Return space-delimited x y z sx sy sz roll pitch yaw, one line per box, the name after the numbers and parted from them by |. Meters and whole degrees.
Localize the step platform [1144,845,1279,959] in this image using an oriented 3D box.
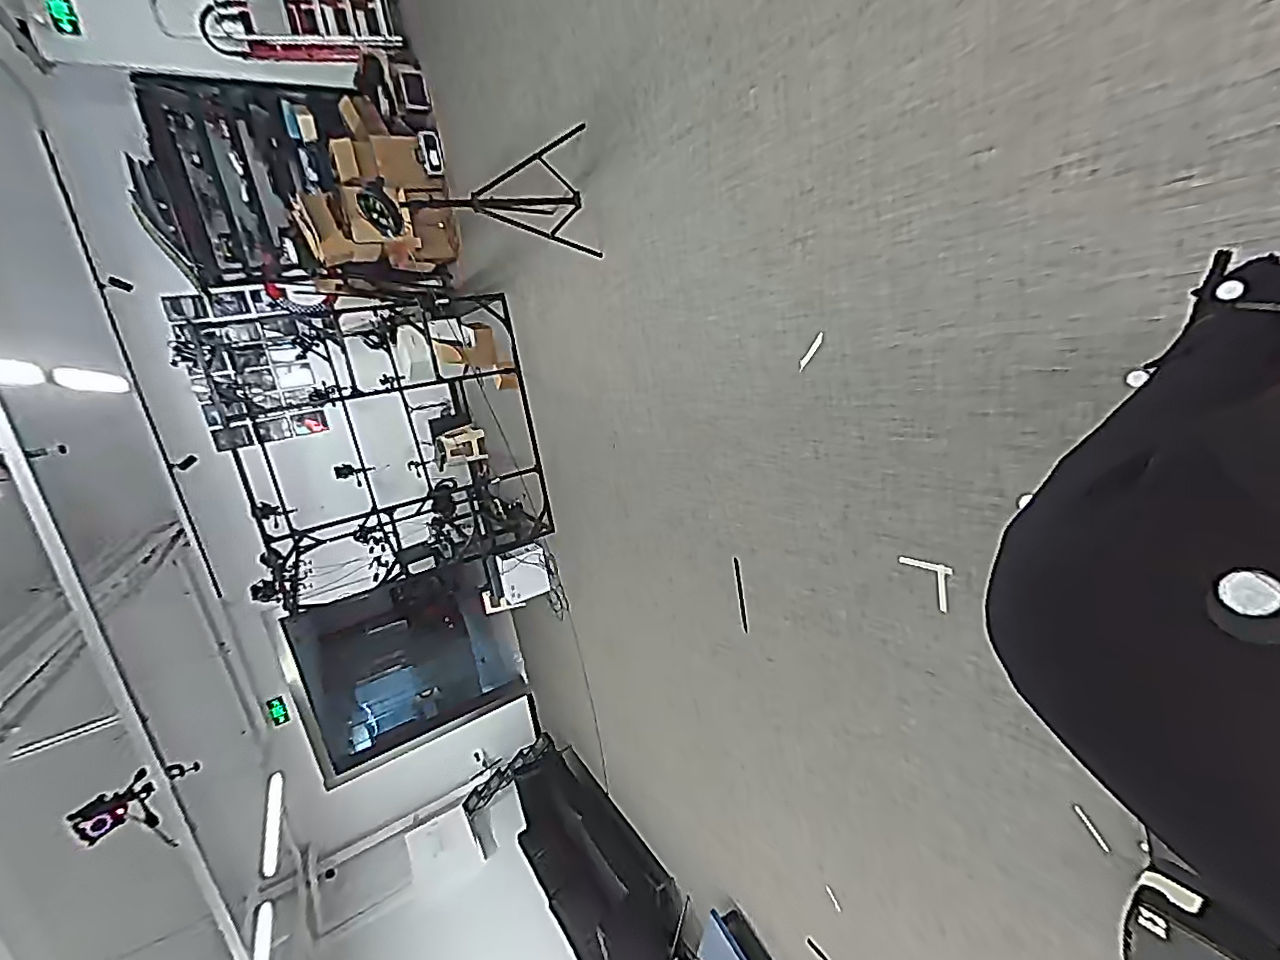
1.424 1.069 1.026 0.684 0.204 0.286 14 117 60 | step platform
